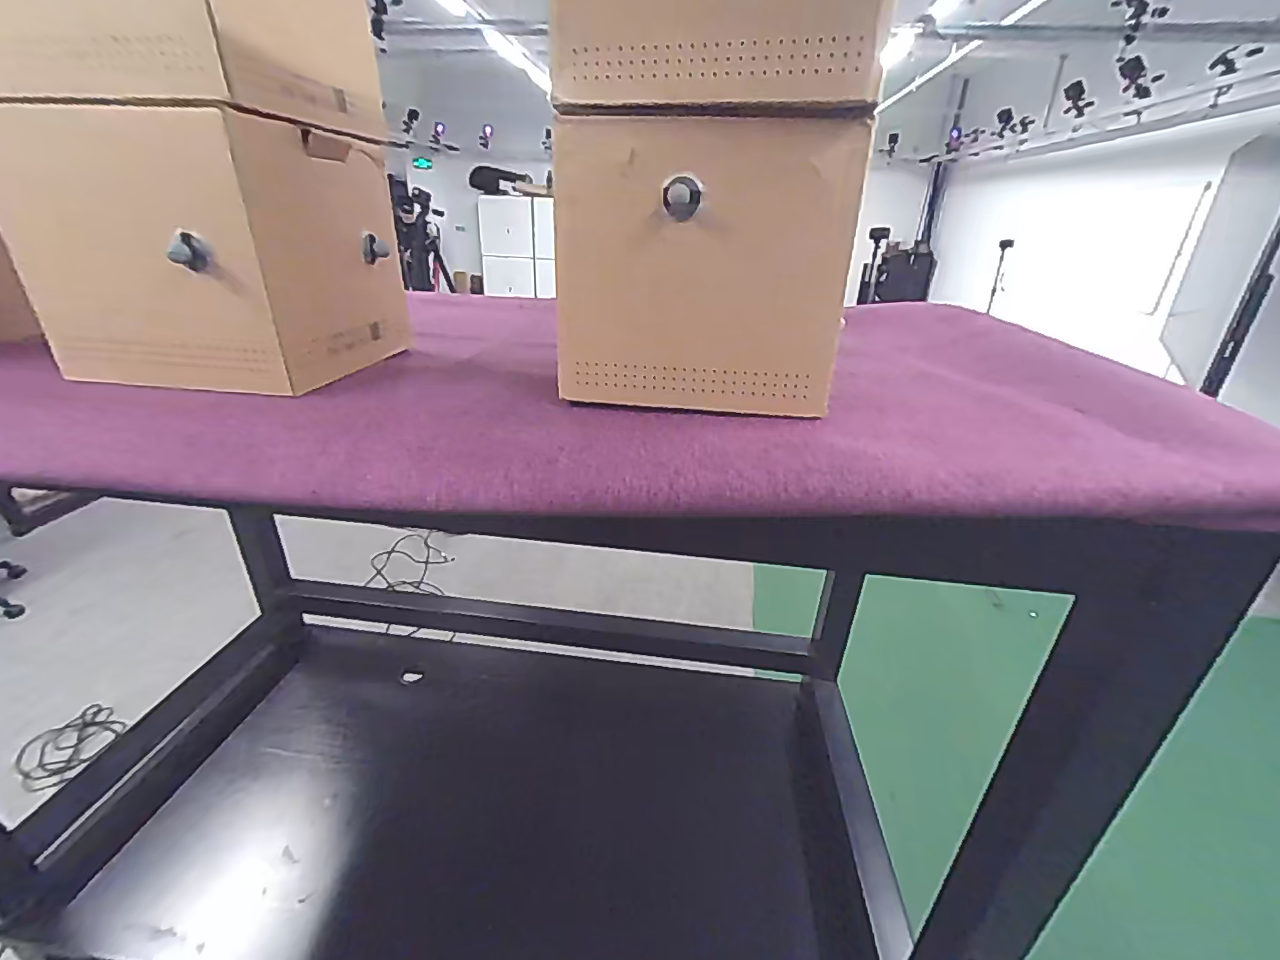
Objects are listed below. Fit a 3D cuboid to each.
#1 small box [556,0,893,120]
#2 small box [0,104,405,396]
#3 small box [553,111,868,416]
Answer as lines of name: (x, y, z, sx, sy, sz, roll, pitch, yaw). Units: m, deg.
small box: (0.053, -0.298, 0.326, 0.179, 0.176, 0.168, 6, 24, 10)
small box: (-0.304, -0.166, 0.408, 0.179, 0.176, 0.168, 4, 25, 5)
small box: (0.045, -0.150, 0.396, 0.179, 0.176, 0.168, 6, 24, 7)
